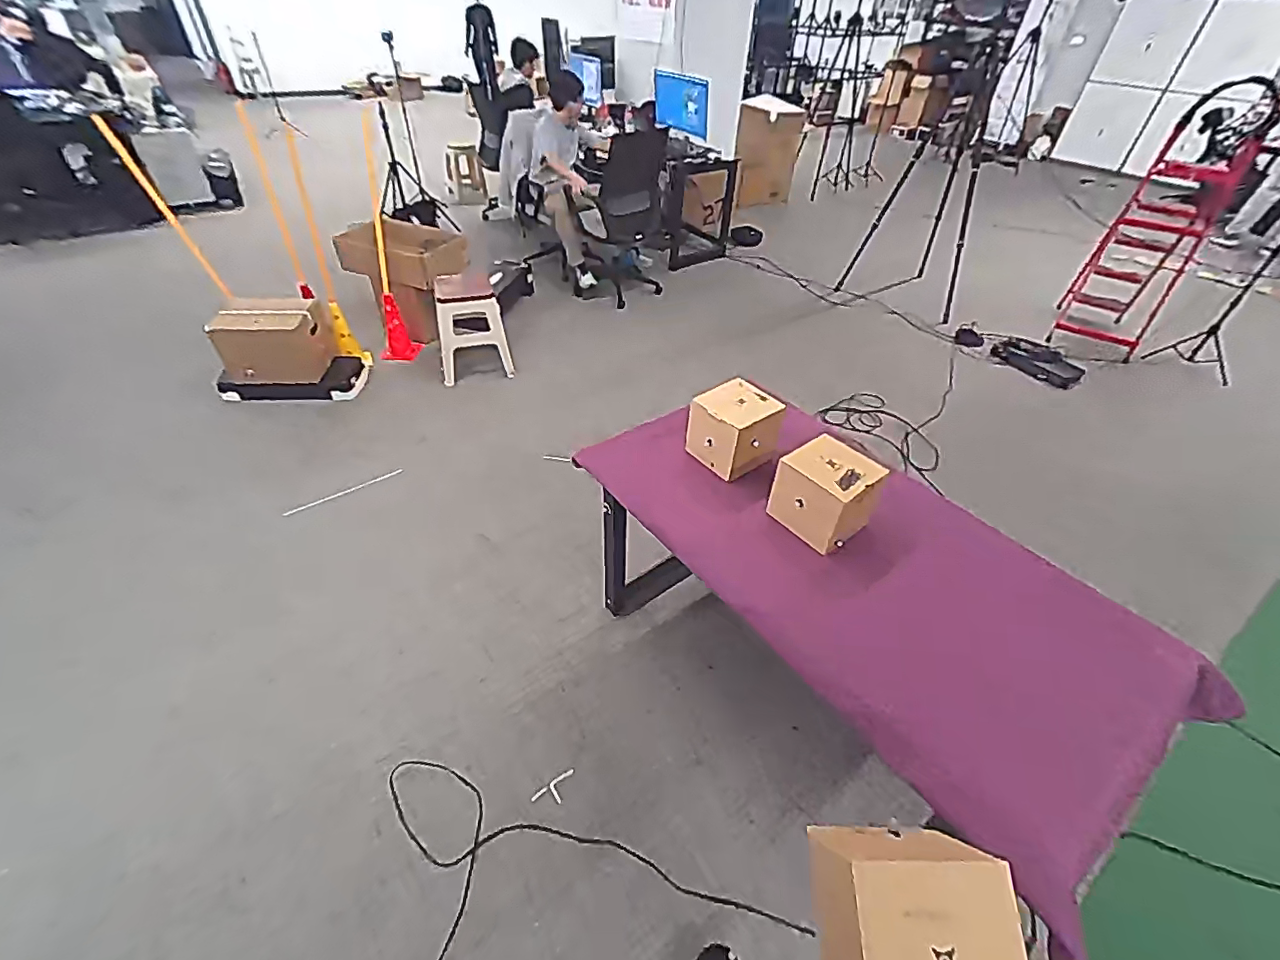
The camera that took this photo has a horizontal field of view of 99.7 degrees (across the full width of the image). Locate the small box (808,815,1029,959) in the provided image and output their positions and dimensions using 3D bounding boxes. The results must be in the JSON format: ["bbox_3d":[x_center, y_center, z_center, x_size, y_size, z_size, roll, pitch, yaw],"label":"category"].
[{"bbox_3d":[0.297,0.493,0.601,0.168,0.176,0.179,1,68,0],"label":"small box"}]

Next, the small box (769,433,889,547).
[{"bbox_3d":[0.418,0.029,1.222,0.168,0.176,0.179,-27,49,-29],"label":"small box"}]

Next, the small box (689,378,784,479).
[{"bbox_3d":[0.241,-0.130,1.390,0.179,0.176,0.168,-28,51,-28],"label":"small box"}]
